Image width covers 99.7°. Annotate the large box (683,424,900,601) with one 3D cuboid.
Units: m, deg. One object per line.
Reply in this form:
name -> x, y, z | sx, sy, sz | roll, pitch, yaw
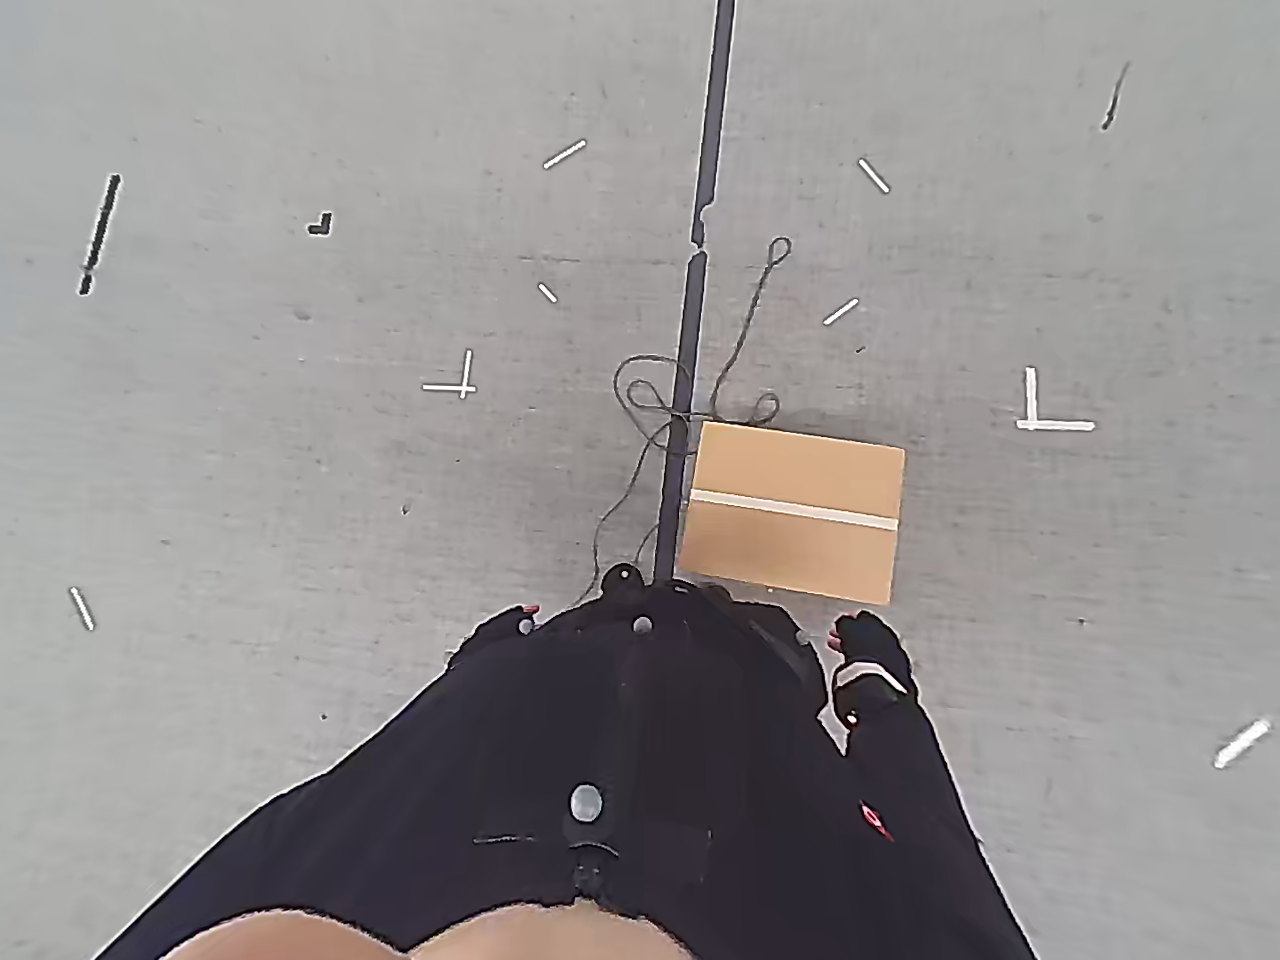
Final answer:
large box -> 0.315, 0.080, 1.230 | 0.408, 0.320, 0.320 | 9, 83, 7
